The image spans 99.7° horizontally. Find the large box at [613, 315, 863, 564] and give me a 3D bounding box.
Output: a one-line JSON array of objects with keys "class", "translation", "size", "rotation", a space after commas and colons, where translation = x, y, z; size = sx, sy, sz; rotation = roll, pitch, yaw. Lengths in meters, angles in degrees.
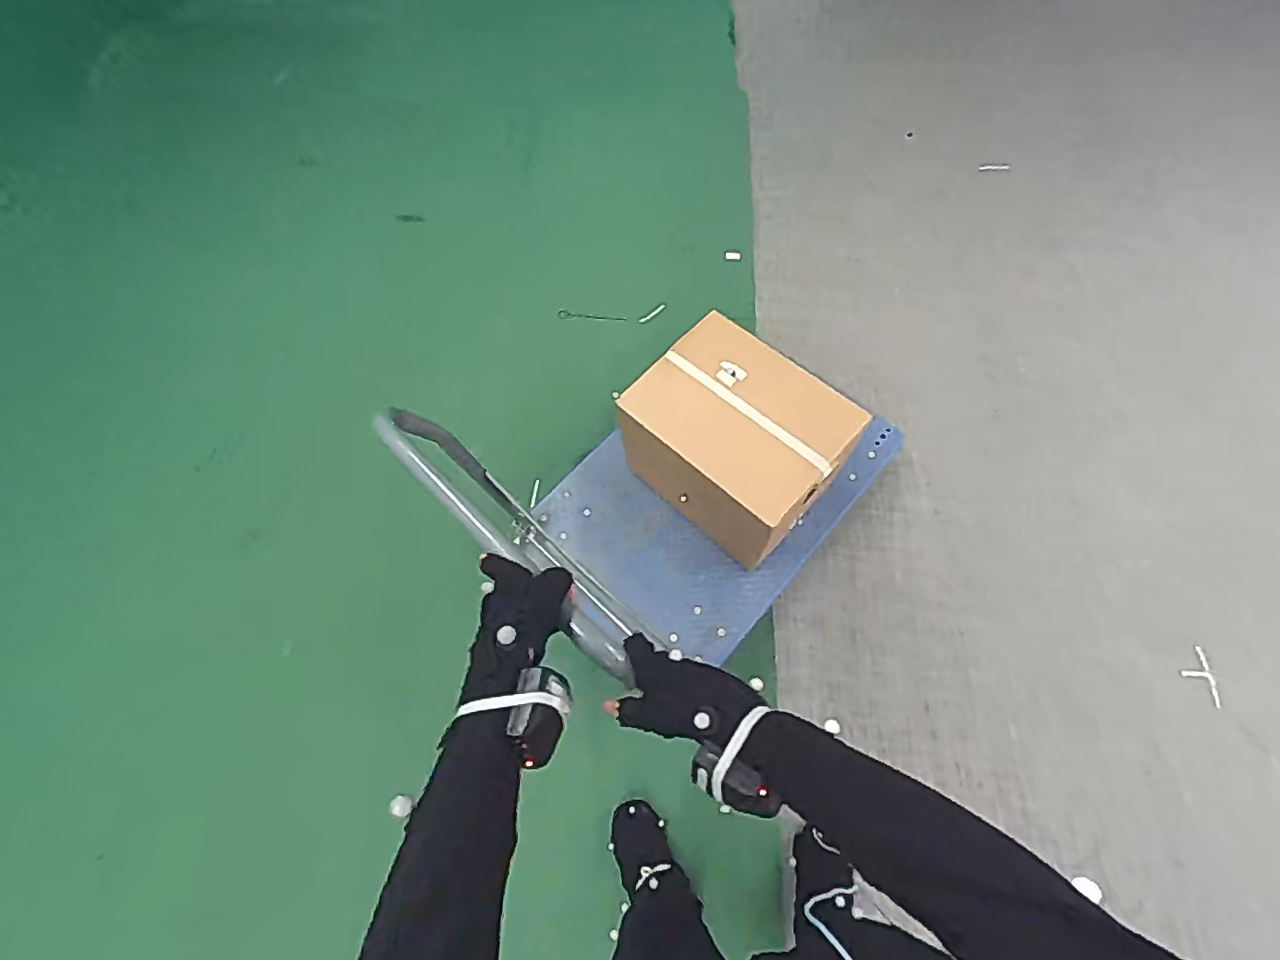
[{"class": "large box", "translation": [0.204, -0.079, 1.211], "size": [0.408, 0.320, 0.320], "rotation": [40, 74, 20]}]
